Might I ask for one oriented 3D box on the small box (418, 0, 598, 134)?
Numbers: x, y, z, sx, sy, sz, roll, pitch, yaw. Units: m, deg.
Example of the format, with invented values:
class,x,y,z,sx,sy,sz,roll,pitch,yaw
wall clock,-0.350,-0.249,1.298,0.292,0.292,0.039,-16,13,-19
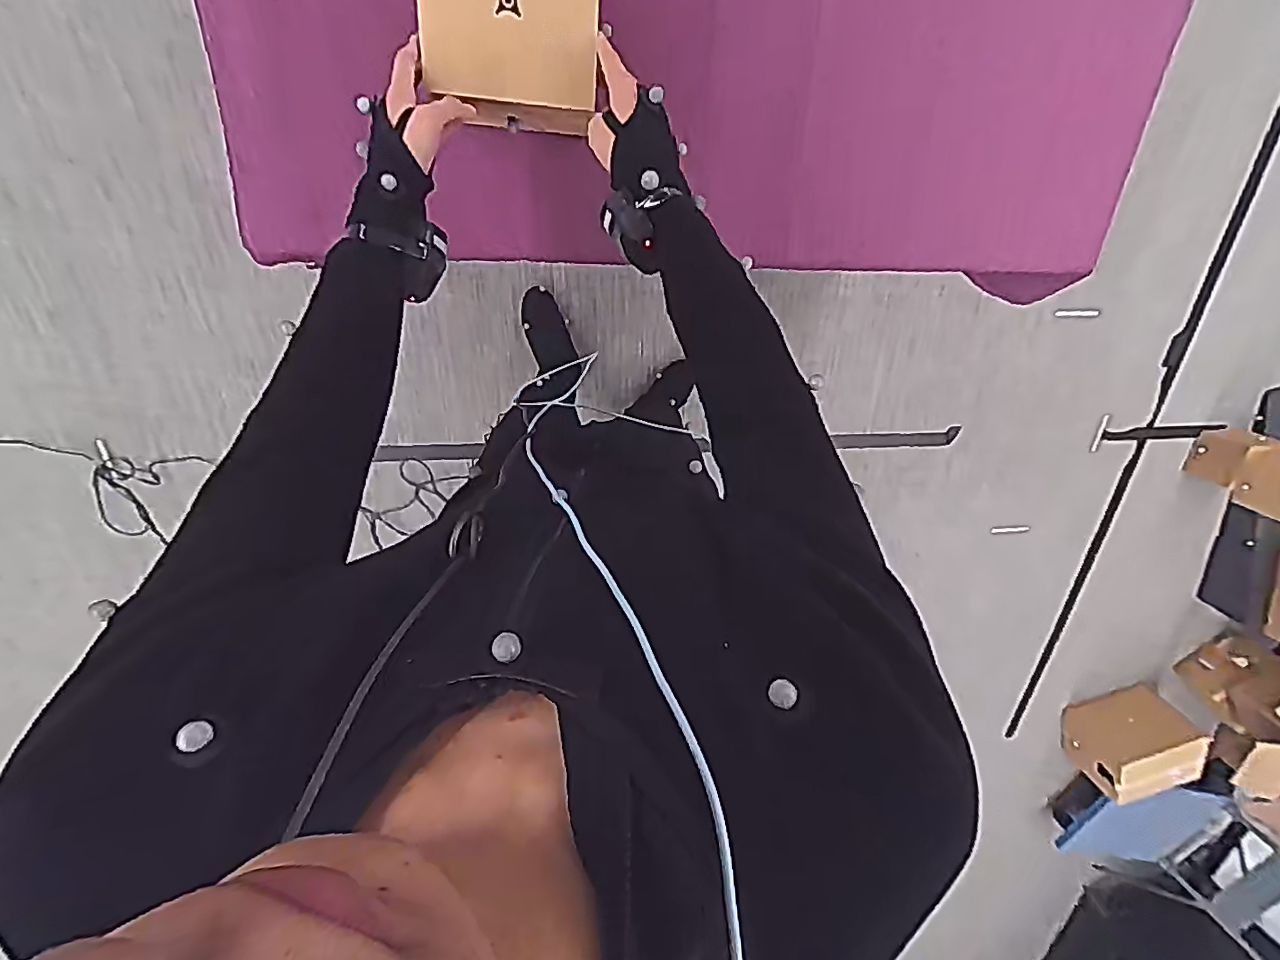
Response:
class,x,y,z,sx,sy,sz,roll,pitch,yaw
small box,-0.129,-0.480,0.565,0.168,0.176,0.179,1,115,-9
